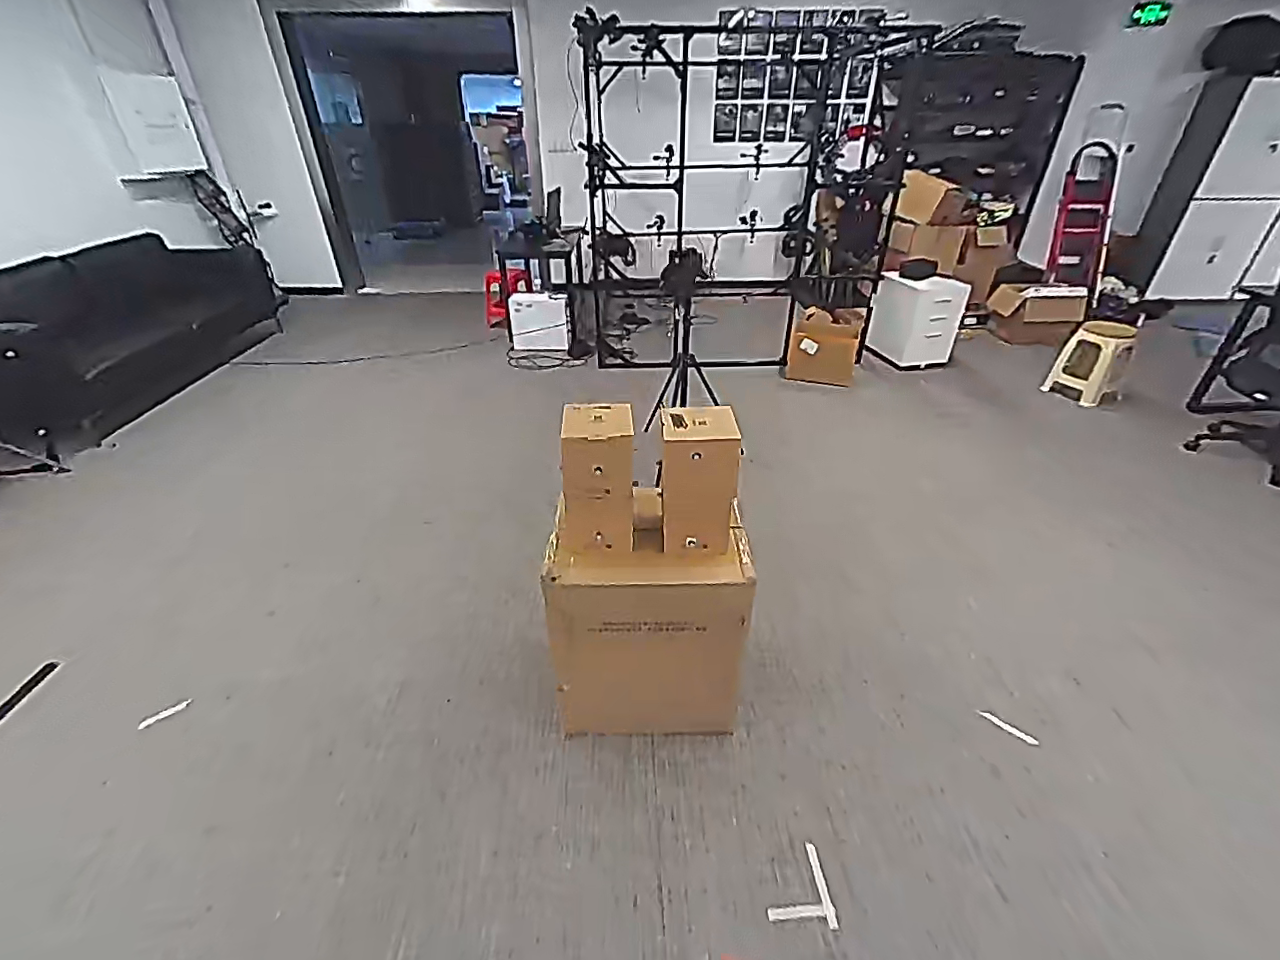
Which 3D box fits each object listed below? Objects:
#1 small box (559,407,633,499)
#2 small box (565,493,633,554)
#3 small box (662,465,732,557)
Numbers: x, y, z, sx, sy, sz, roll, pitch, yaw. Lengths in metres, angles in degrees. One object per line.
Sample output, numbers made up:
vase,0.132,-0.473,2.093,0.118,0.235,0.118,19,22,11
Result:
small box,-0.103,-0.064,1.325,0.168,0.176,0.179,-2,34,-3
small box,-0.103,0.075,1.412,0.168,0.176,0.179,-1,33,-2
small box,0.141,0.079,1.404,0.168,0.176,0.179,-3,34,1
